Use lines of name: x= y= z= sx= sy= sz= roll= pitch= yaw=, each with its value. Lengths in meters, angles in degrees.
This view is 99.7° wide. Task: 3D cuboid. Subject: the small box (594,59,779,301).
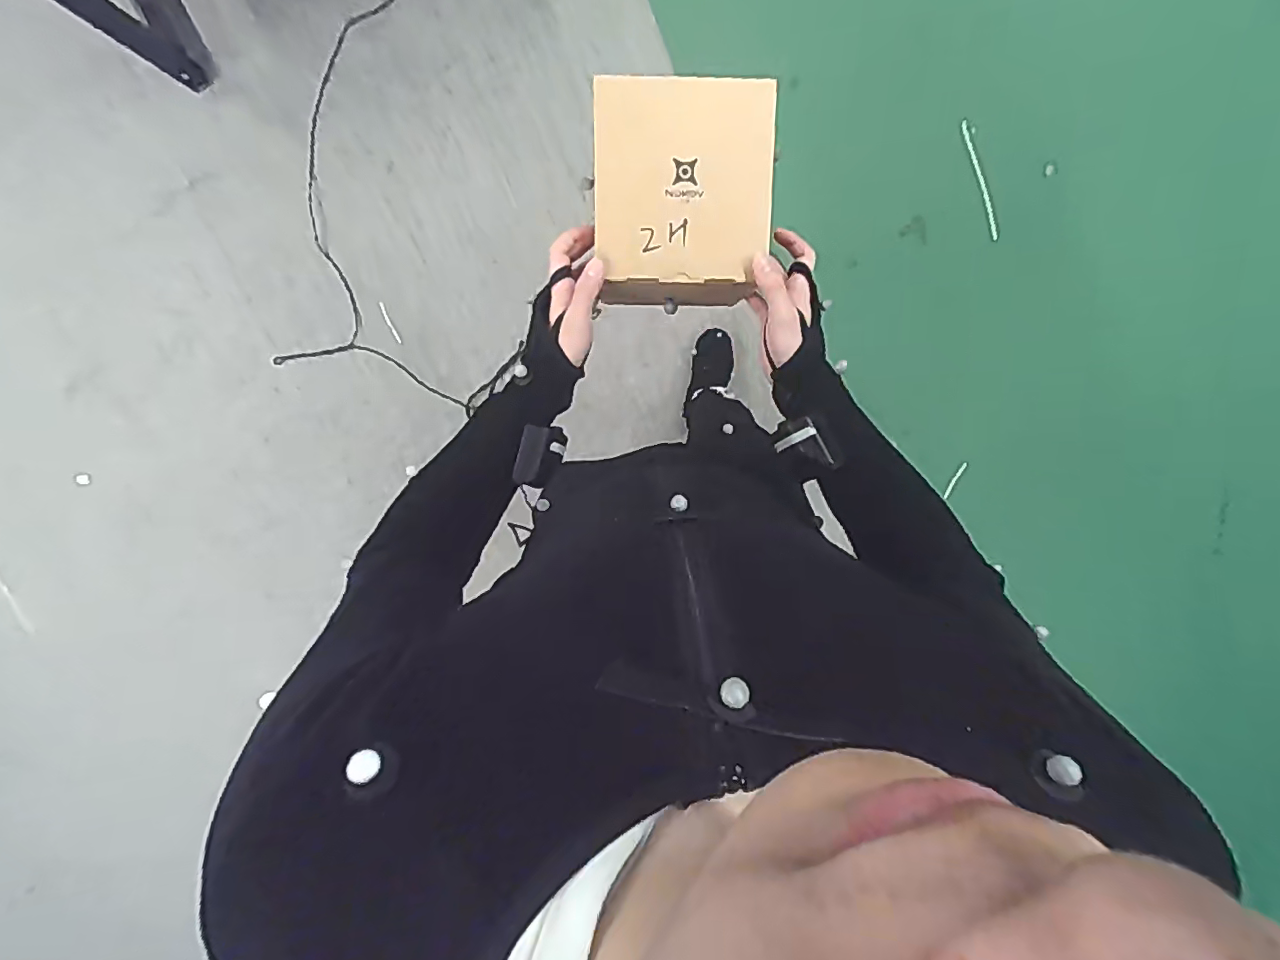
small box: x=0.038 y=-0.293 z=0.565 sx=0.168 sy=0.176 sz=0.179 roll=0 pitch=100 yaw=-1
